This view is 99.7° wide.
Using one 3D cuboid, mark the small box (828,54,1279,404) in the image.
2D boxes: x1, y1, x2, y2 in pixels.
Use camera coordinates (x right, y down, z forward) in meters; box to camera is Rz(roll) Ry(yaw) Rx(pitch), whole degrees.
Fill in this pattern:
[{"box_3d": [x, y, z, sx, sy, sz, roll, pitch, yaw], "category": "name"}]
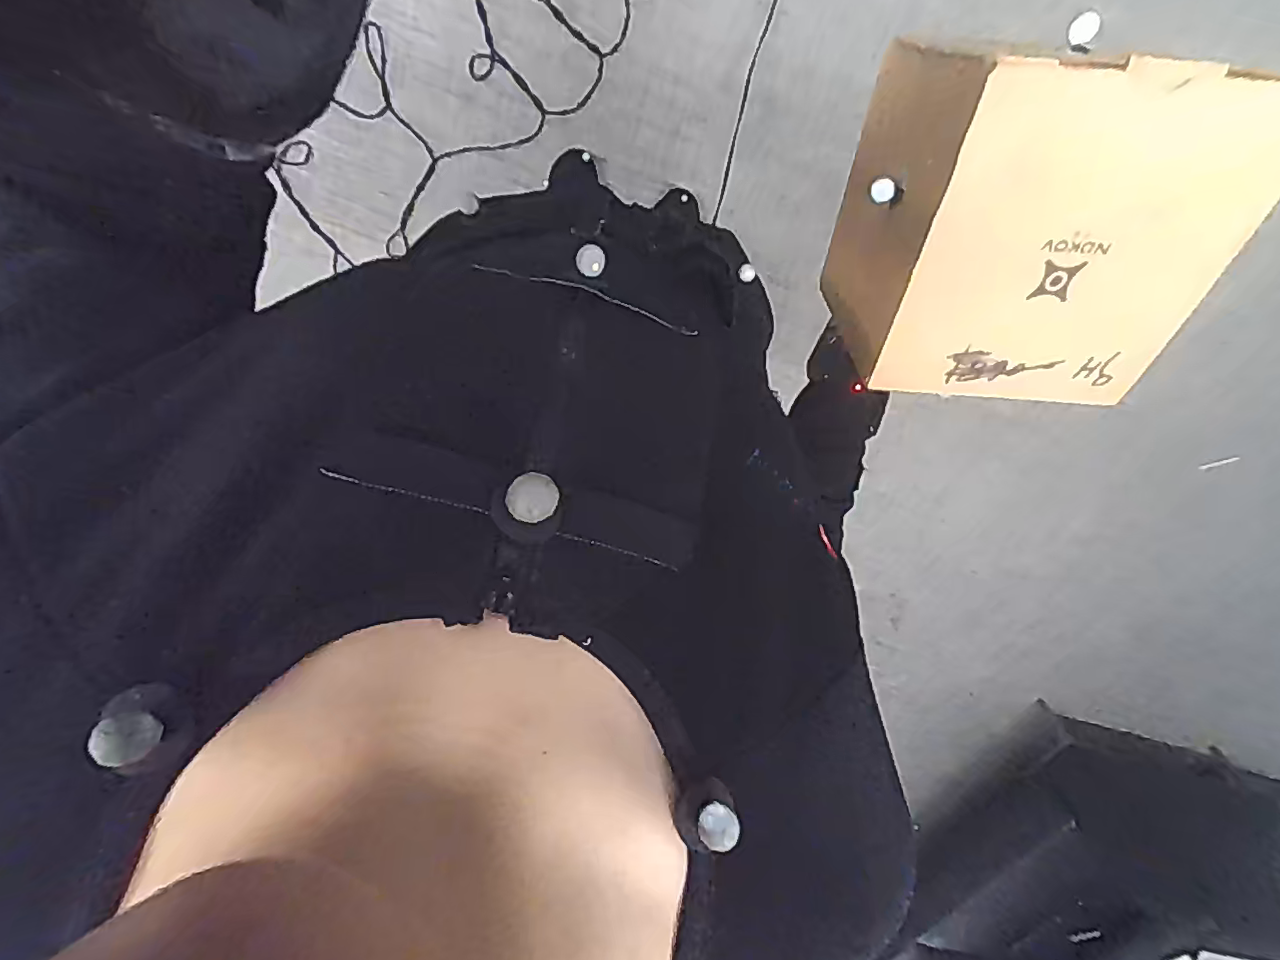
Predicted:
[{"box_3d": [0.243, -0.174, 0.369, 0.168, 0.176, 0.179, 4, 131, 1], "category": "small box"}]
